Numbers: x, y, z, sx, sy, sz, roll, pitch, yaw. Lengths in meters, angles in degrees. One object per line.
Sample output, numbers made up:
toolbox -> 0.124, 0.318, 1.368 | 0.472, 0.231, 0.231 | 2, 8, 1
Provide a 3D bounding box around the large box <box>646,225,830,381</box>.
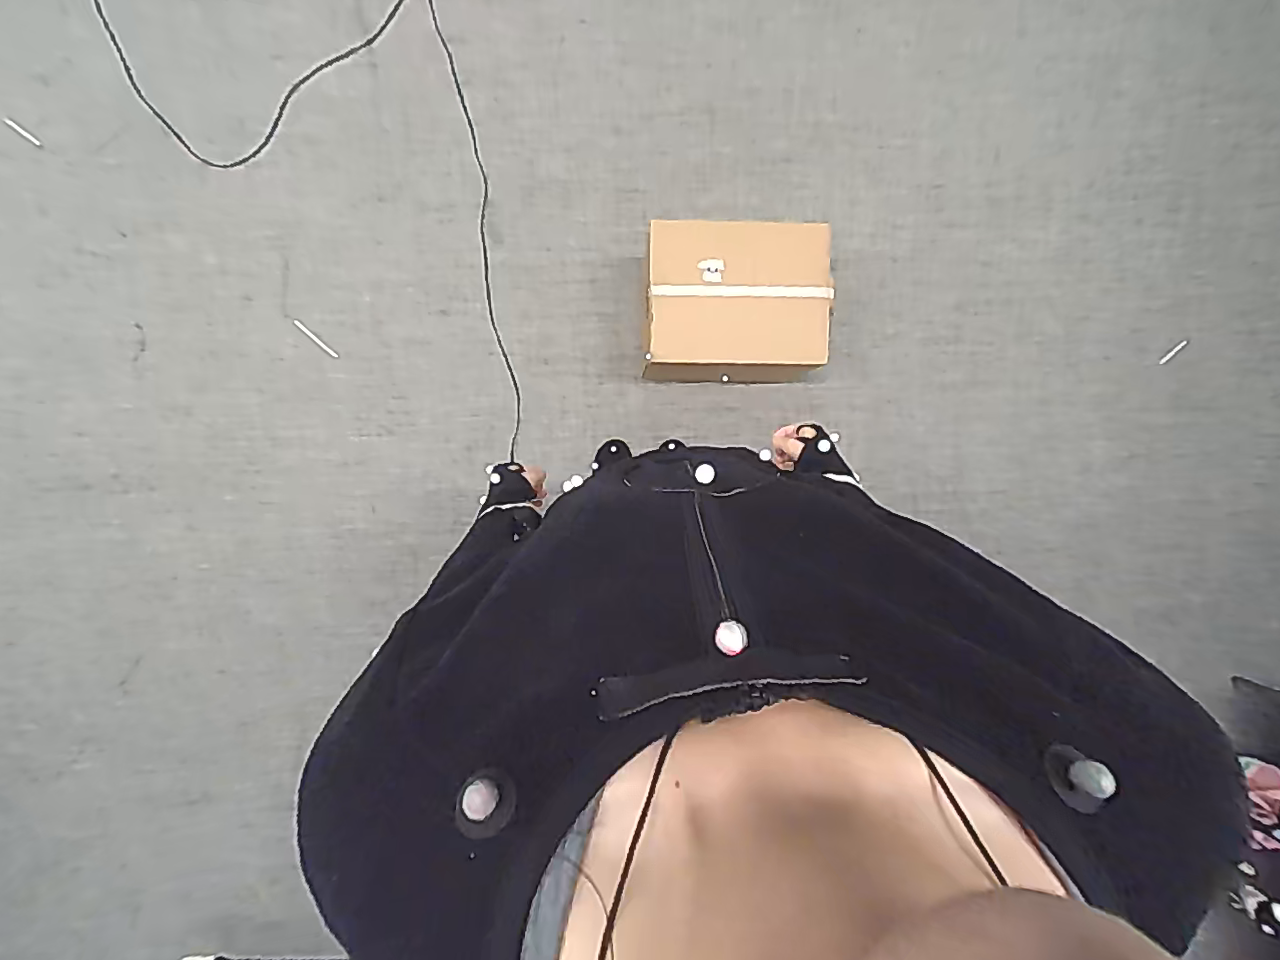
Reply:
large box -> 0.223, -0.420, 1.353 | 0.408, 0.320, 0.320 | 0, 92, -1
